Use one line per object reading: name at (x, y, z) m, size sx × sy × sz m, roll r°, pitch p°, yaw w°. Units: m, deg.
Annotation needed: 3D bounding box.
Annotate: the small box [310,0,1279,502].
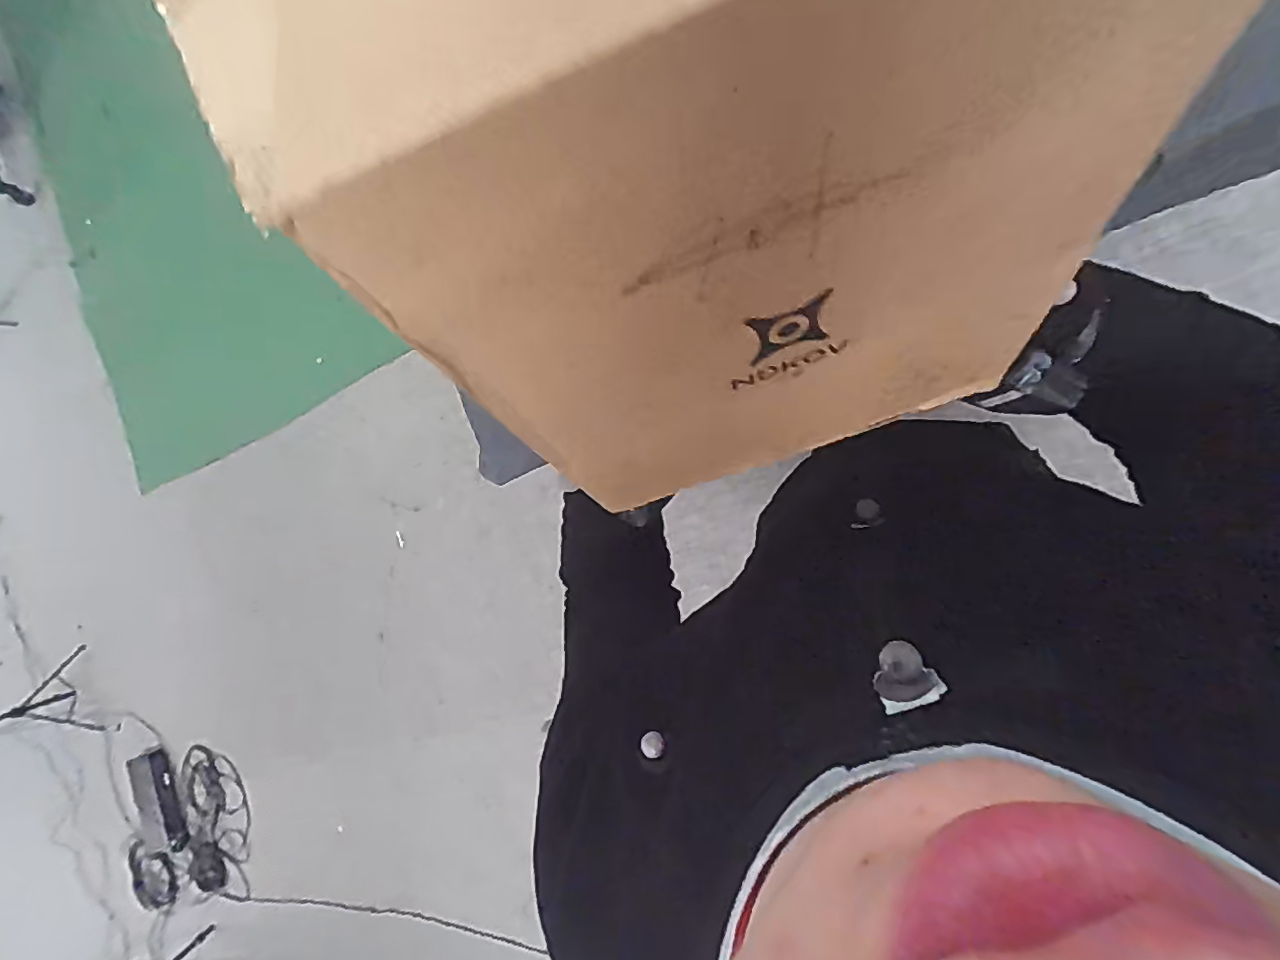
small box at (0.026, -0.114, 0.184) m, size 0.168 × 0.179 × 0.176 m, roll -19°, pitch 67°, yaw 10°
